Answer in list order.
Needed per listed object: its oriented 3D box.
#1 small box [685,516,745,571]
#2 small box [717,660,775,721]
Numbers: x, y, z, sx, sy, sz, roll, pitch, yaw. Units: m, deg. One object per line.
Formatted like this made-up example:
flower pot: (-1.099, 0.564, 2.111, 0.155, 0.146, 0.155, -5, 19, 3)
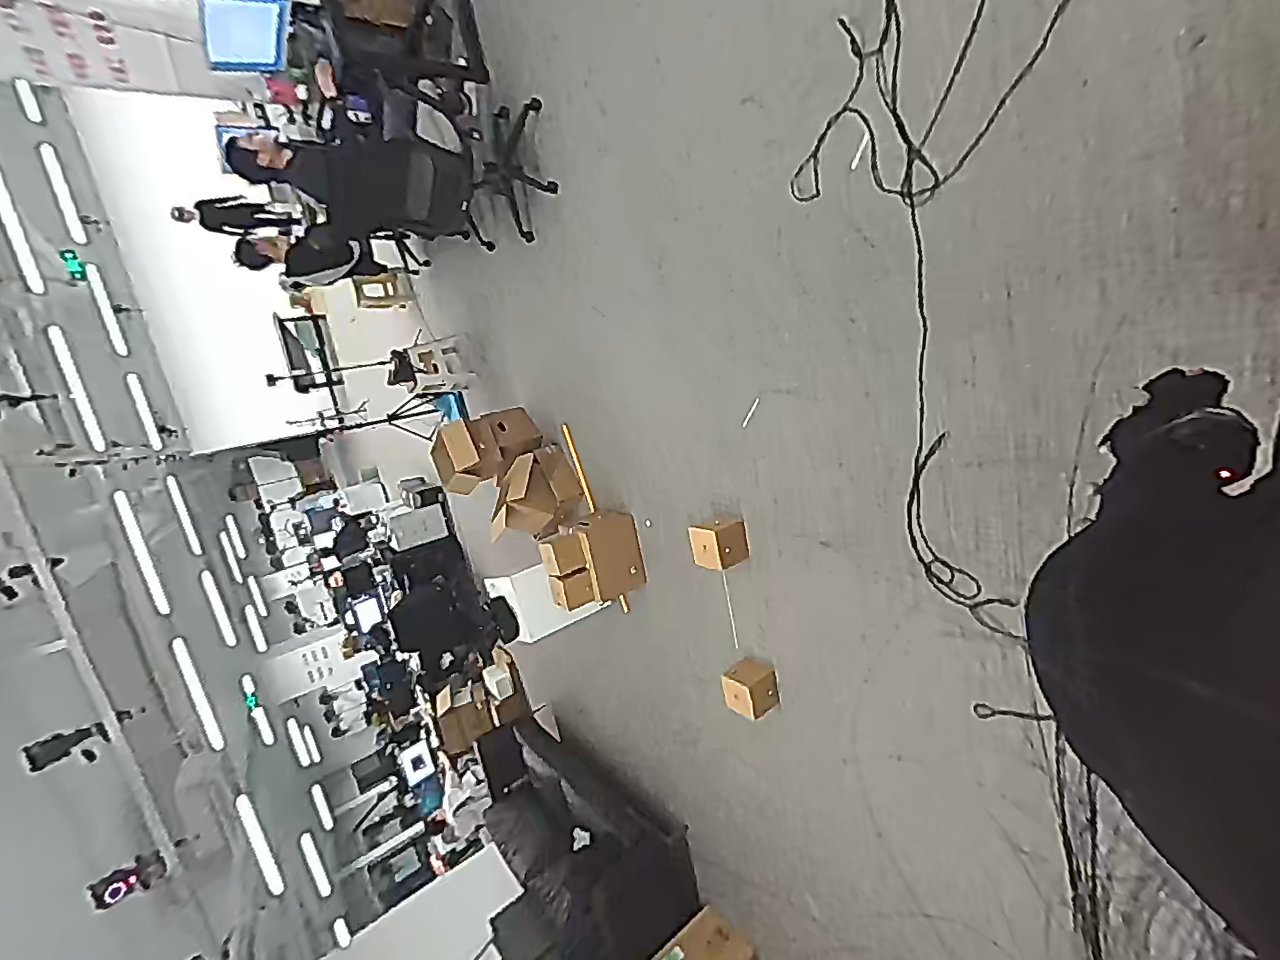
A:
small box: (0.320, 0.262, 2.280, 0.168, 0.176, 0.179, 3, 109, 54)
small box: (0.470, 0.921, 2.391, 0.179, 0.176, 0.168, 3, 108, 55)
